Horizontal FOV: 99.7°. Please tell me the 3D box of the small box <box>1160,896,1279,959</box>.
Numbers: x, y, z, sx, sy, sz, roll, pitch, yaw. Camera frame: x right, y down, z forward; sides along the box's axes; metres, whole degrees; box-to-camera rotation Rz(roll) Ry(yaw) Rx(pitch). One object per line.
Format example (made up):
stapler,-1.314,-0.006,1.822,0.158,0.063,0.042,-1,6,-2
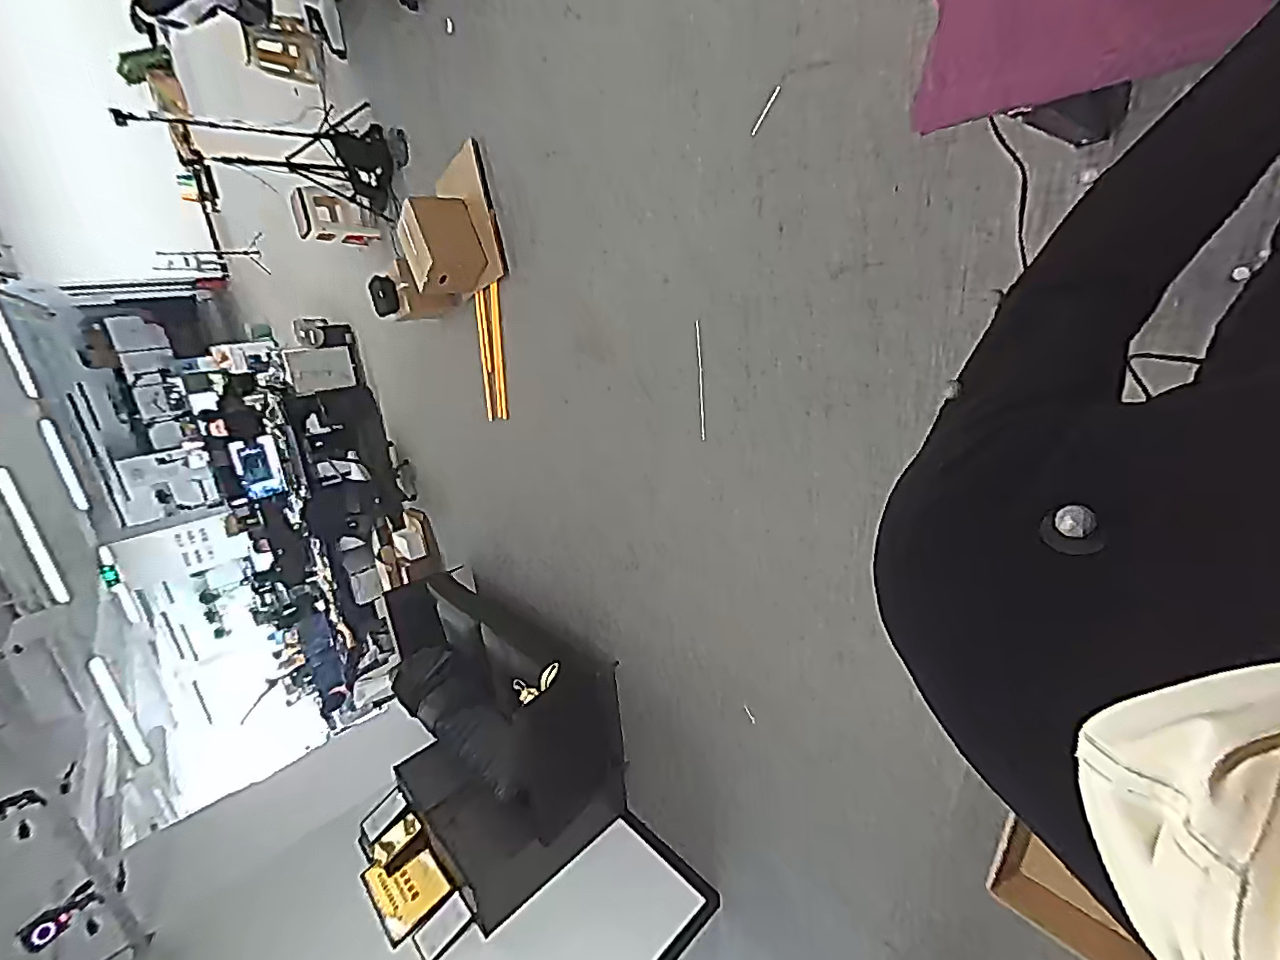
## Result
small box,1.401,1.180,1.311,0.168,0.176,0.179,22,123,43
